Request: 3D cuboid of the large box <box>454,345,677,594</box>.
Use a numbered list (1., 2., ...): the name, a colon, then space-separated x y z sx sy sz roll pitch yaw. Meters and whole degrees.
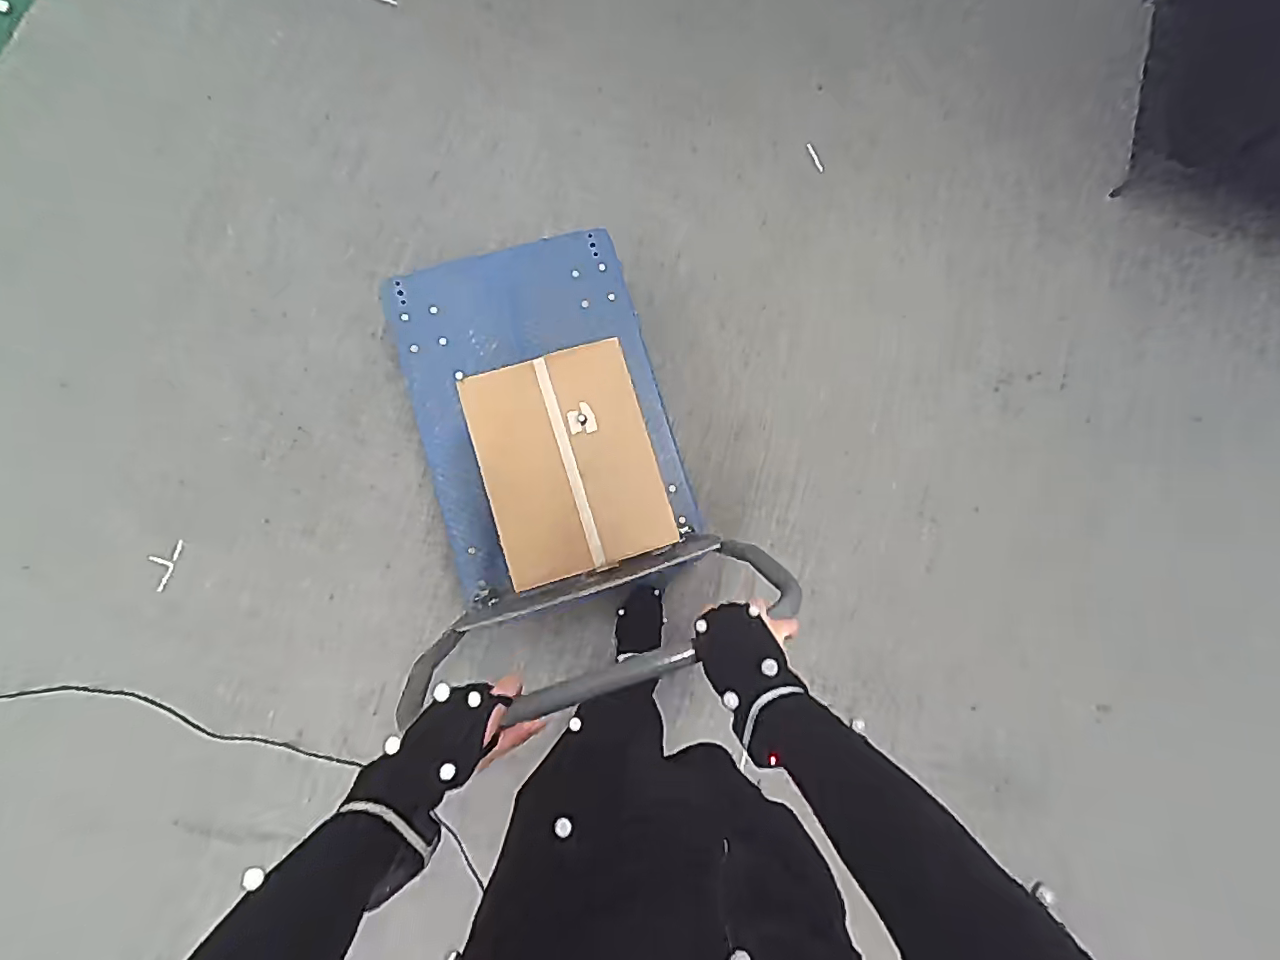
1. large box: -0.148 -0.010 1.144 0.320 0.320 0.408 -18 85 -8
